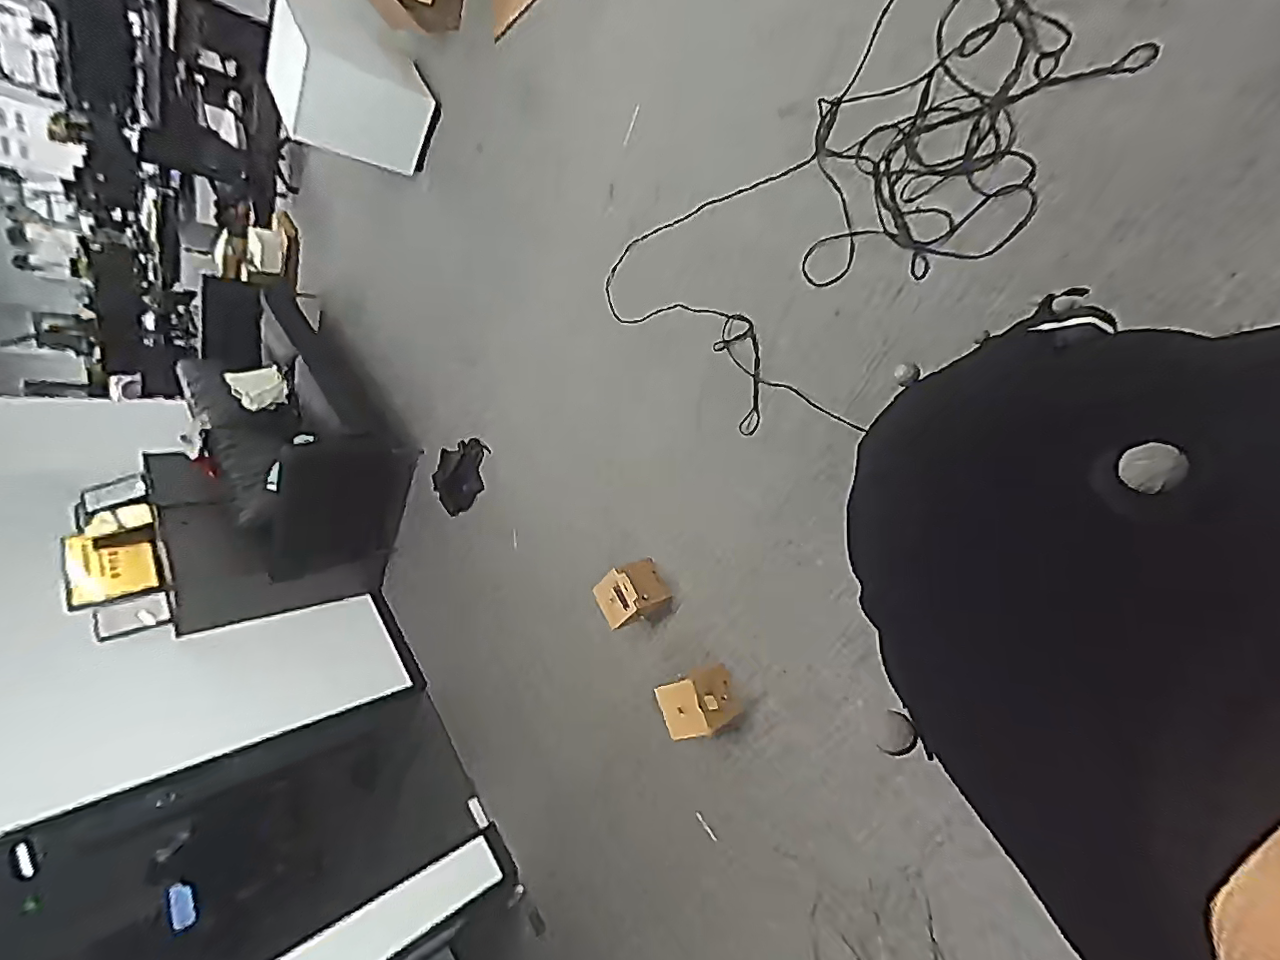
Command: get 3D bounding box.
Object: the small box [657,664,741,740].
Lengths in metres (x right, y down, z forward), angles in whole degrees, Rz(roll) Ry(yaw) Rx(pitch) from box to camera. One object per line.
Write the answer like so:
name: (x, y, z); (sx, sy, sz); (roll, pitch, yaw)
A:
small box: (0.190, 0.708, 1.727); (0.179, 0.176, 0.168); (-35, 70, 40)
